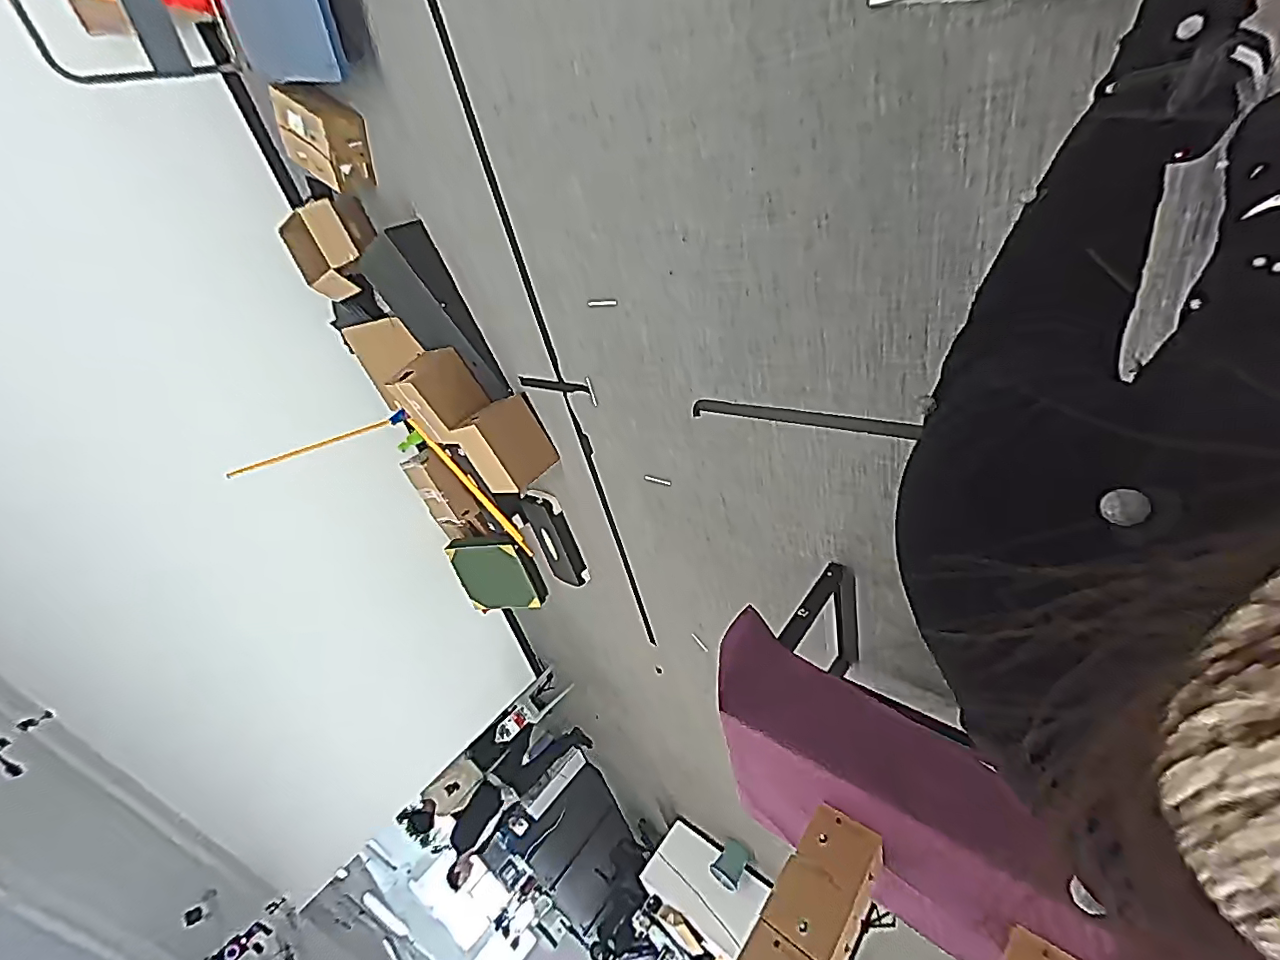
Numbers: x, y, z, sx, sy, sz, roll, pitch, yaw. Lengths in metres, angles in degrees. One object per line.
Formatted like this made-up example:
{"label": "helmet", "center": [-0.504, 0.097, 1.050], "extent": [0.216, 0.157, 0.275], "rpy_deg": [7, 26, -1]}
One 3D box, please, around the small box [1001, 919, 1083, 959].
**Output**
{"label": "small box", "center": [0.859, 1.100, 1.148], "extent": [0.168, 0.176, 0.179], "rpy_deg": [14, 131, 41]}

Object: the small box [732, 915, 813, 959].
{"label": "small box", "center": [0.311, 1.168, 1.246], "extent": [0.168, 0.176, 0.179], "rpy_deg": [15, 133, 41]}

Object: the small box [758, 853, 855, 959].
{"label": "small box", "center": [0.418, 1.077, 1.331], "extent": [0.179, 0.176, 0.168], "rpy_deg": [14, 132, 42]}

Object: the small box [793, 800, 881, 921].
{"label": "small box", "center": [0.522, 0.992, 1.425], "extent": [0.168, 0.176, 0.179], "rpy_deg": [15, 133, 41]}
